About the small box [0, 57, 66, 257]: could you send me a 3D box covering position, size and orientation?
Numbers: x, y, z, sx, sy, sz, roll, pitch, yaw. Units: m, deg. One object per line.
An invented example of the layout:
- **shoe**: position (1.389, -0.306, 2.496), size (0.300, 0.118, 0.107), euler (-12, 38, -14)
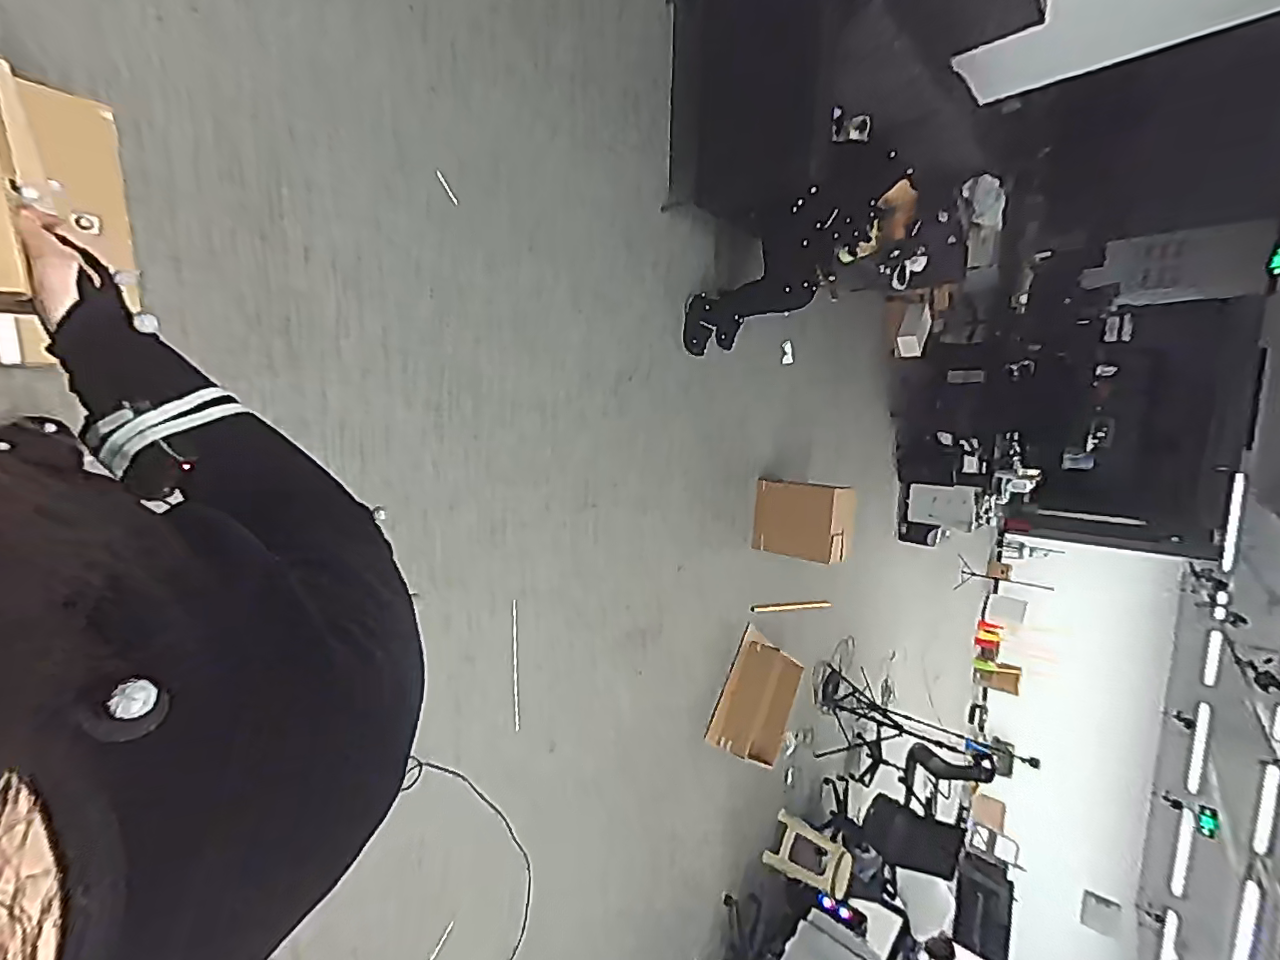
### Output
- **small box**: position (-0.756, -0.343, 0.578), size (0.168, 0.176, 0.179), euler (-20, 111, -44)

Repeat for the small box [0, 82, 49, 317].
- **small box**: position (-0.512, -0.204, 0.341), size (0.168, 0.176, 0.179), euler (-12, 107, -43)
